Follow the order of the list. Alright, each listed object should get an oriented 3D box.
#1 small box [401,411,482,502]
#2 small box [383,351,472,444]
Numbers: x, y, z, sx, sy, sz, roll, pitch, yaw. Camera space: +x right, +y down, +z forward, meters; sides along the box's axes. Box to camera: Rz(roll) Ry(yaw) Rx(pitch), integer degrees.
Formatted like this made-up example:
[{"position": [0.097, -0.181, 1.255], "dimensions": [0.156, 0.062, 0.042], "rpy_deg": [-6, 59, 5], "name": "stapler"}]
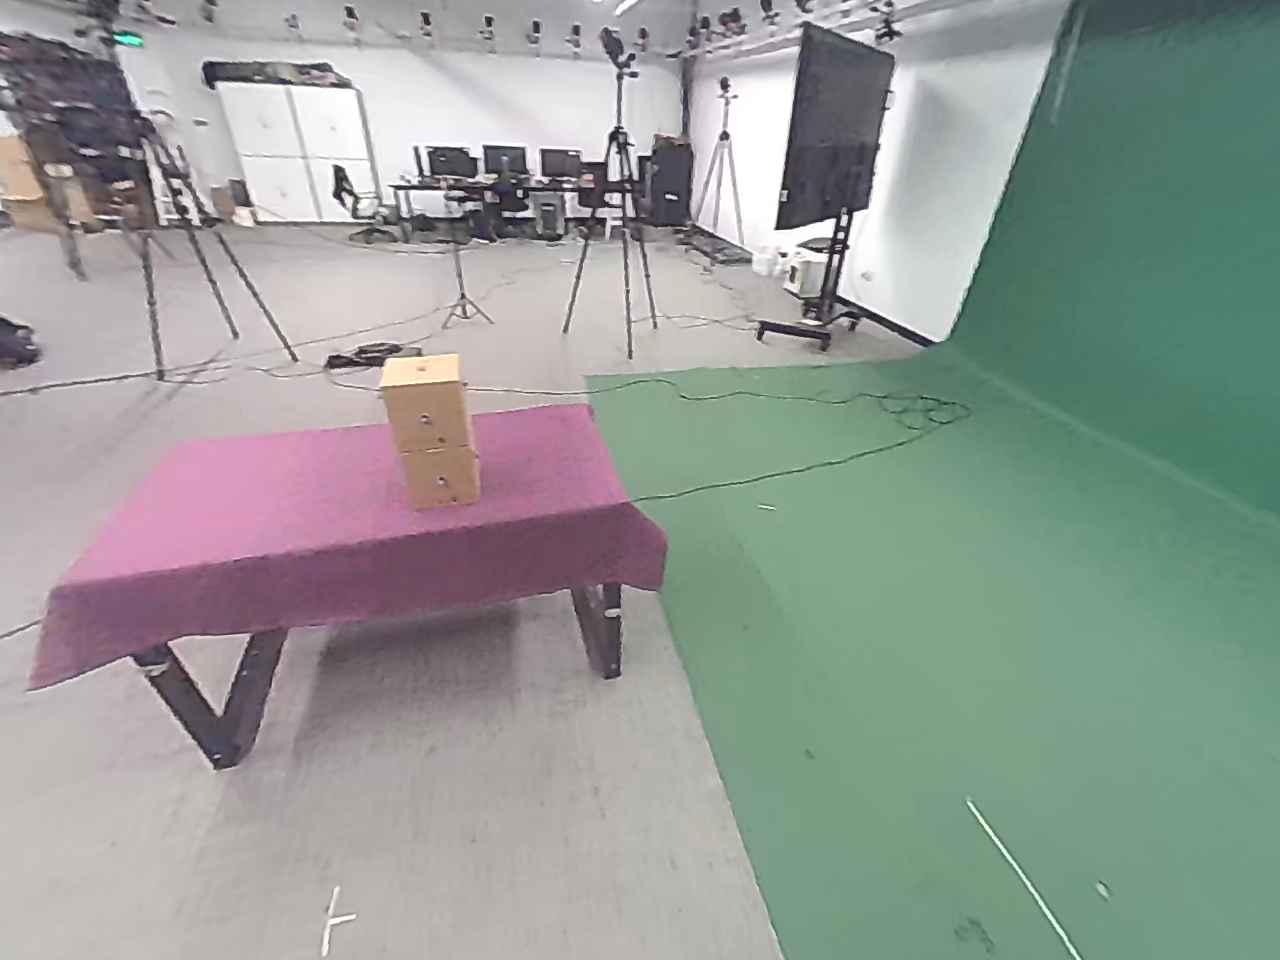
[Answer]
[{"position": [-0.498, -0.056, 1.379], "dimensions": [0.168, 0.176, 0.179], "rpy_deg": [-7, 35, -14], "name": "small box"}, {"position": [-0.496, -0.194, 1.287], "dimensions": [0.168, 0.176, 0.179], "rpy_deg": [-7, 34, -14], "name": "small box"}]
